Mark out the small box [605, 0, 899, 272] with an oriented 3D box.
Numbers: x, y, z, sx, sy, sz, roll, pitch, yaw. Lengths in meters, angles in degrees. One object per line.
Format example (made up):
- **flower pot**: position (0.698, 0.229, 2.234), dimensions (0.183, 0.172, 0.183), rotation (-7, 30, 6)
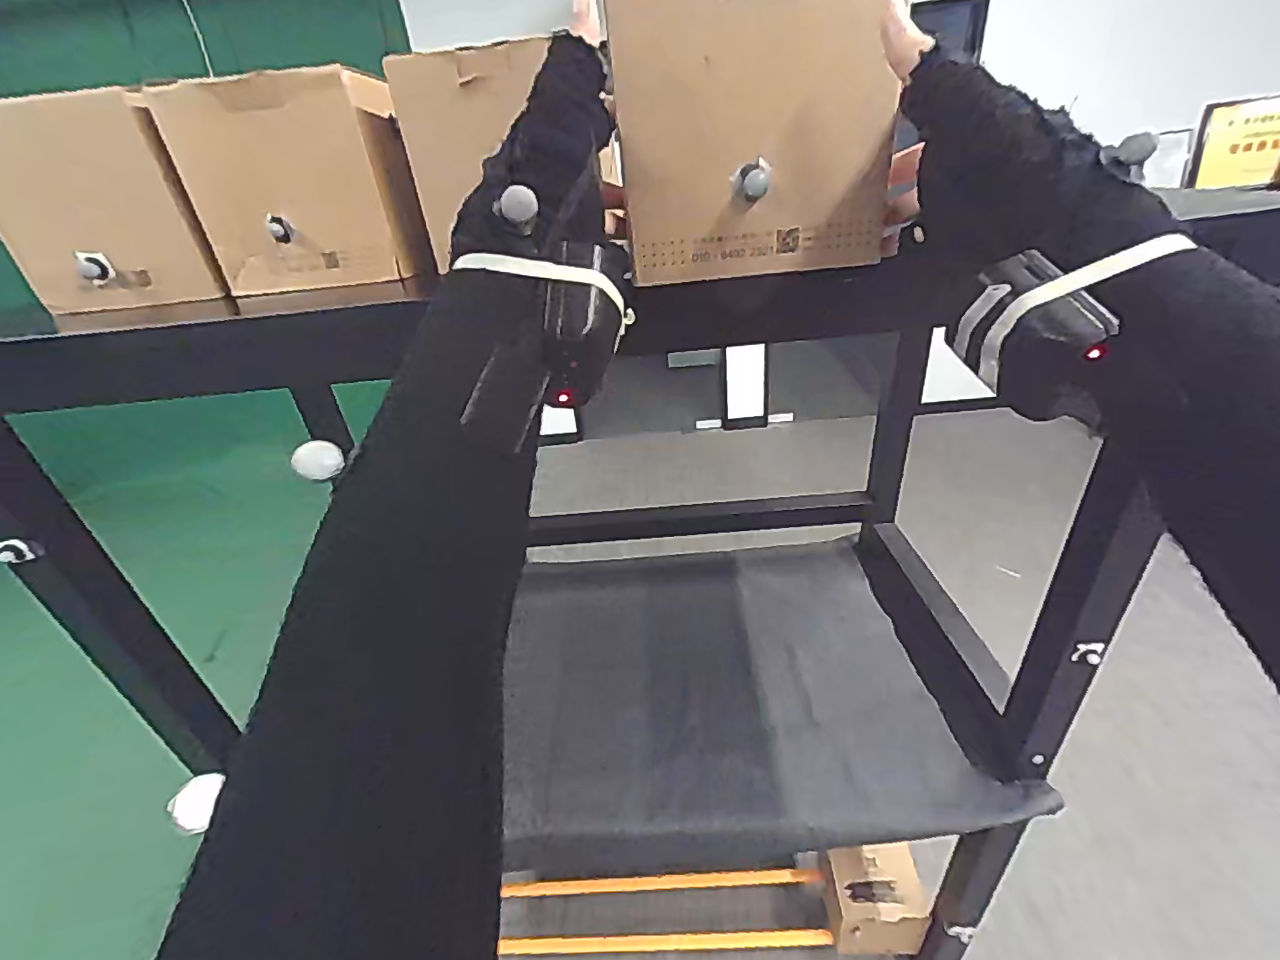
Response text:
- **small box**: position (0.071, -0.256, 0.401), dimensions (0.168, 0.176, 0.179), rotation (-4, 29, 6)
